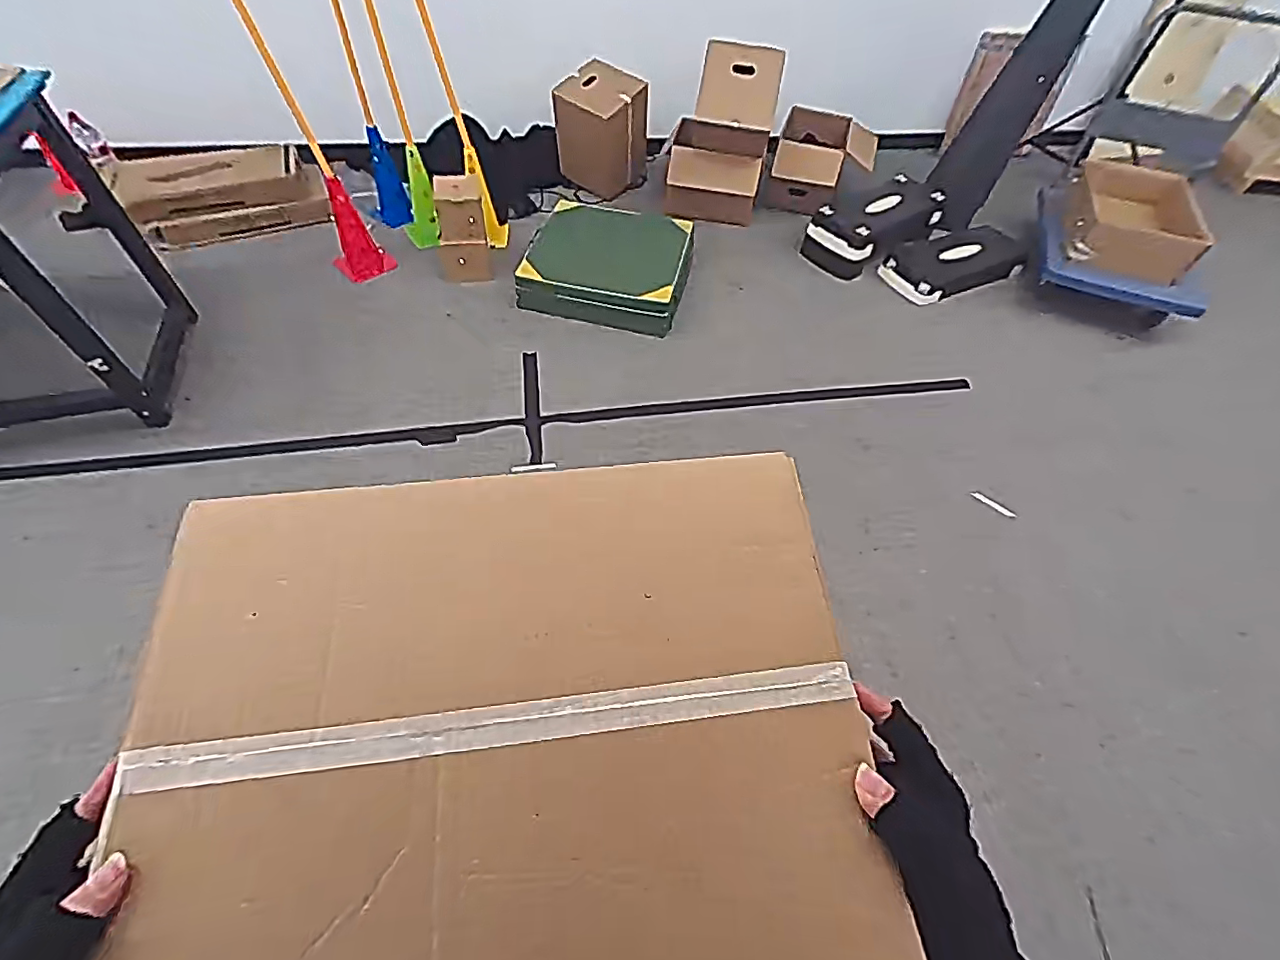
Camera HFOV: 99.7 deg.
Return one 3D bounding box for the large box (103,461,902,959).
[{"bbox_3d":[-0.082,0.204,0.455,0.408,0.320,0.320,-5,64,-5],"label":"large box"}]
